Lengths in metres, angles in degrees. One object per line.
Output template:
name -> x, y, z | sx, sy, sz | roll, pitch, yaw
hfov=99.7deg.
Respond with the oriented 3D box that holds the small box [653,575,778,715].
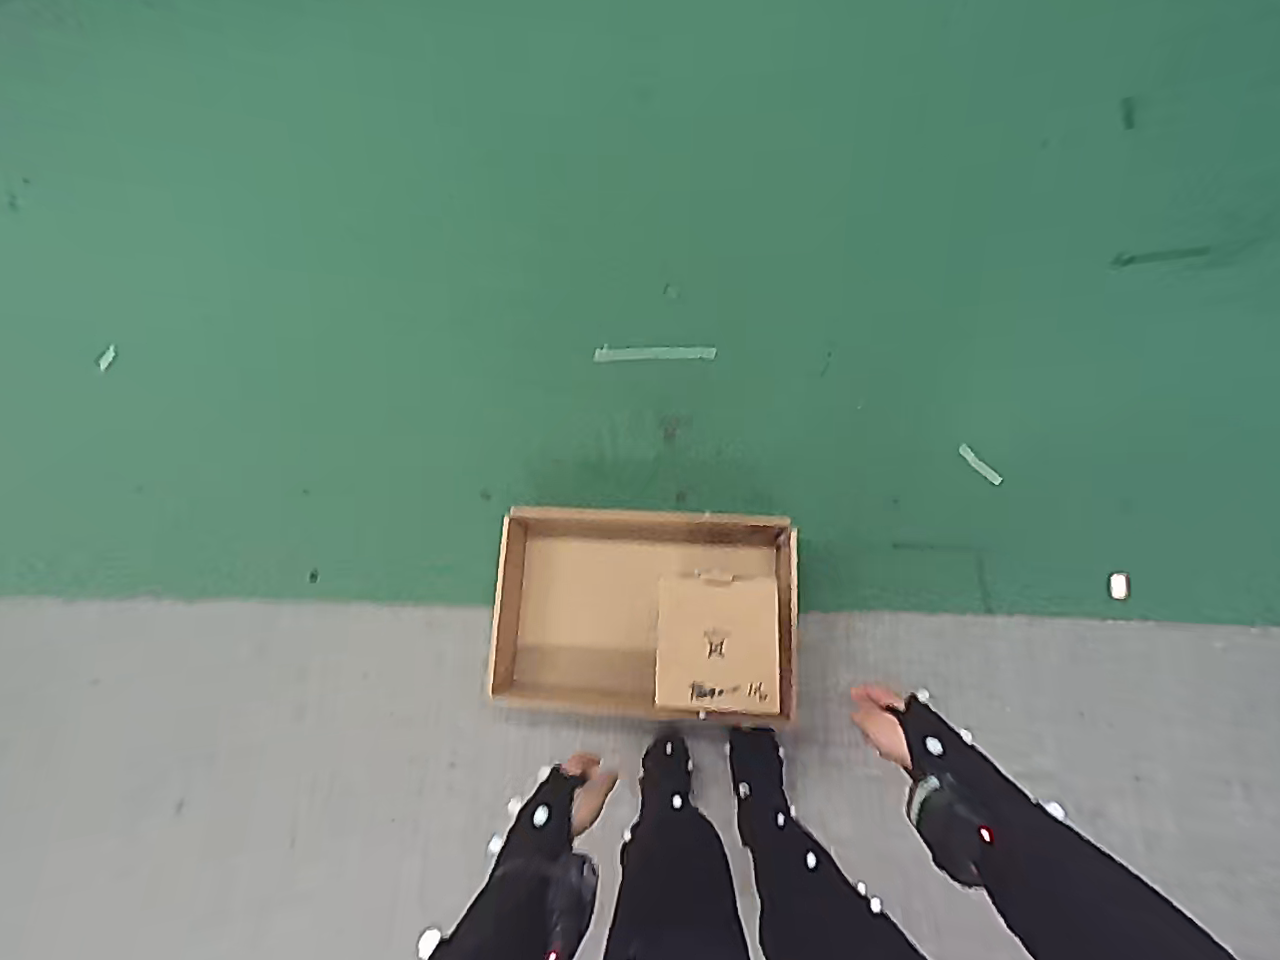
small box -> 0.110, 0.237, 0.802 | 0.168, 0.176, 0.179 | 0, 77, 7
